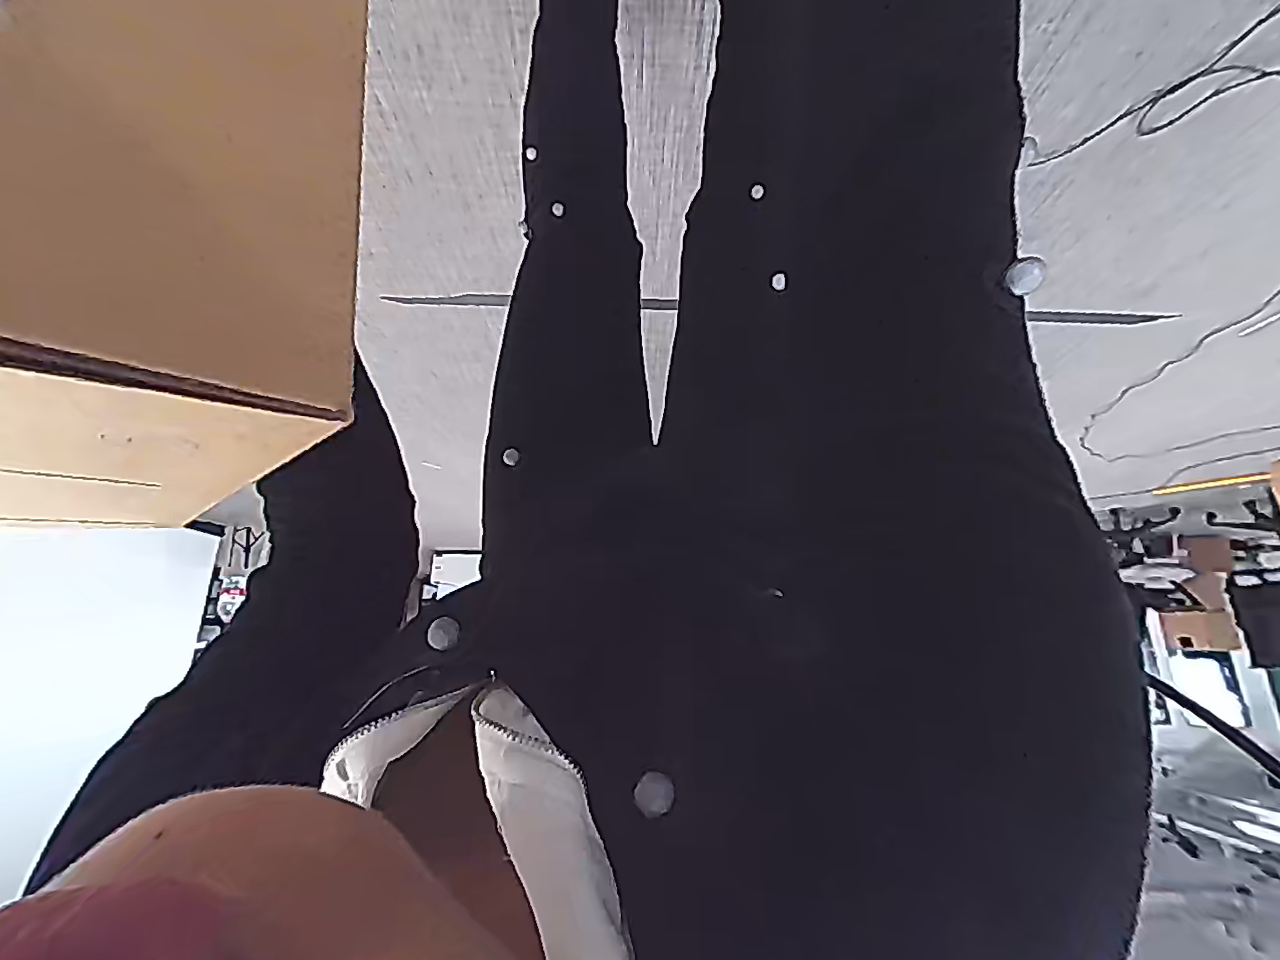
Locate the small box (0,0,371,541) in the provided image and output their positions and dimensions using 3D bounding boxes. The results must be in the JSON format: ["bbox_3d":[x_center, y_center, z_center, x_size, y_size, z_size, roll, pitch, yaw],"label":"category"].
[{"bbox_3d":[-0.192,-0.086,0.133,0.168,0.176,0.179,-16,163,35],"label":"small box"}]
